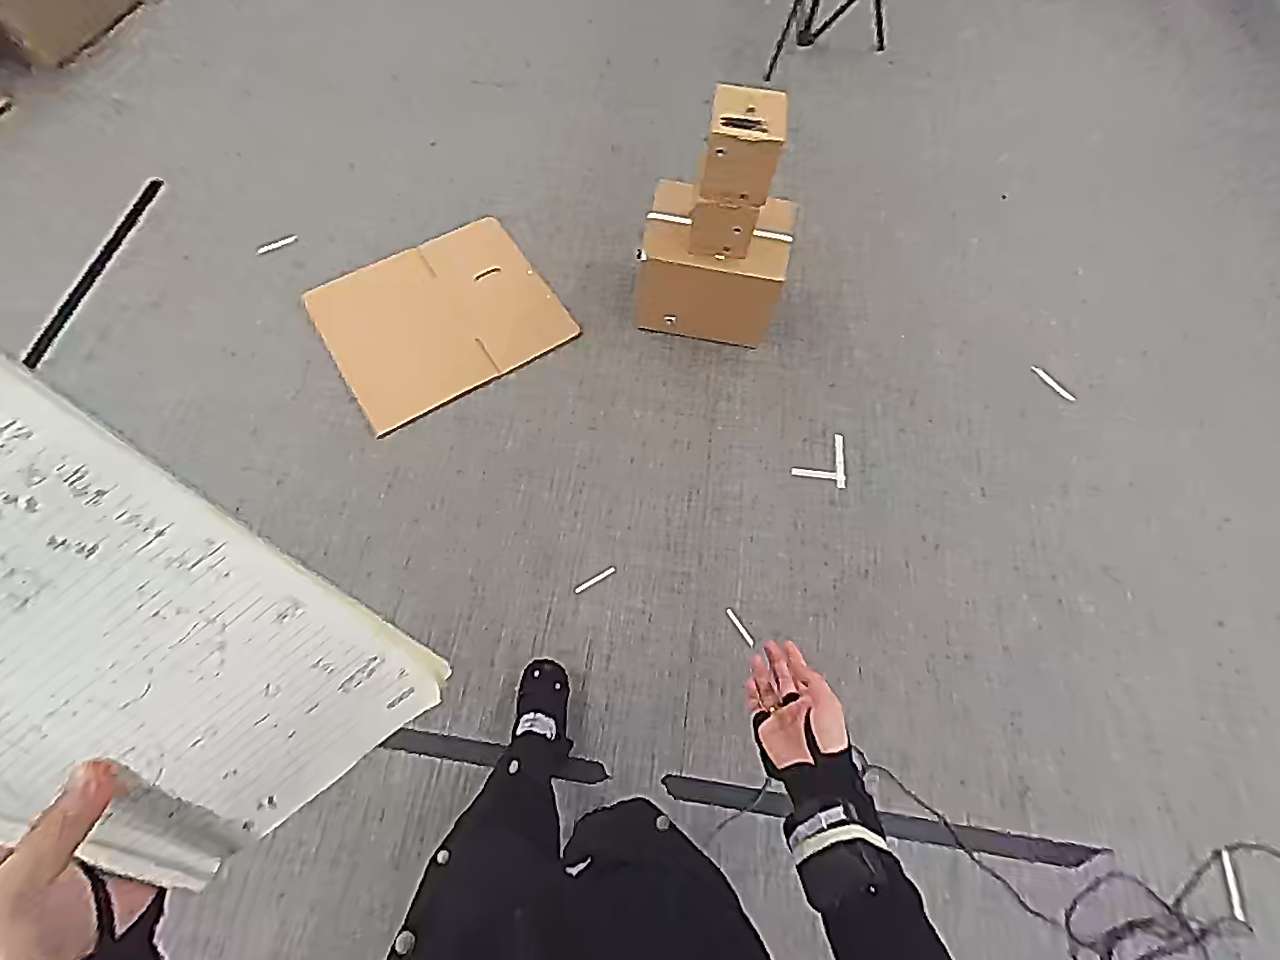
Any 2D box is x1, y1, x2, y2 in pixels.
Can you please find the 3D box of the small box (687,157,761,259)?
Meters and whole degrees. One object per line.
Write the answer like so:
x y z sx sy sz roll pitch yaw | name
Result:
0.220 -0.718 1.438 0.168 0.176 0.179 6 67 -2 | small box
